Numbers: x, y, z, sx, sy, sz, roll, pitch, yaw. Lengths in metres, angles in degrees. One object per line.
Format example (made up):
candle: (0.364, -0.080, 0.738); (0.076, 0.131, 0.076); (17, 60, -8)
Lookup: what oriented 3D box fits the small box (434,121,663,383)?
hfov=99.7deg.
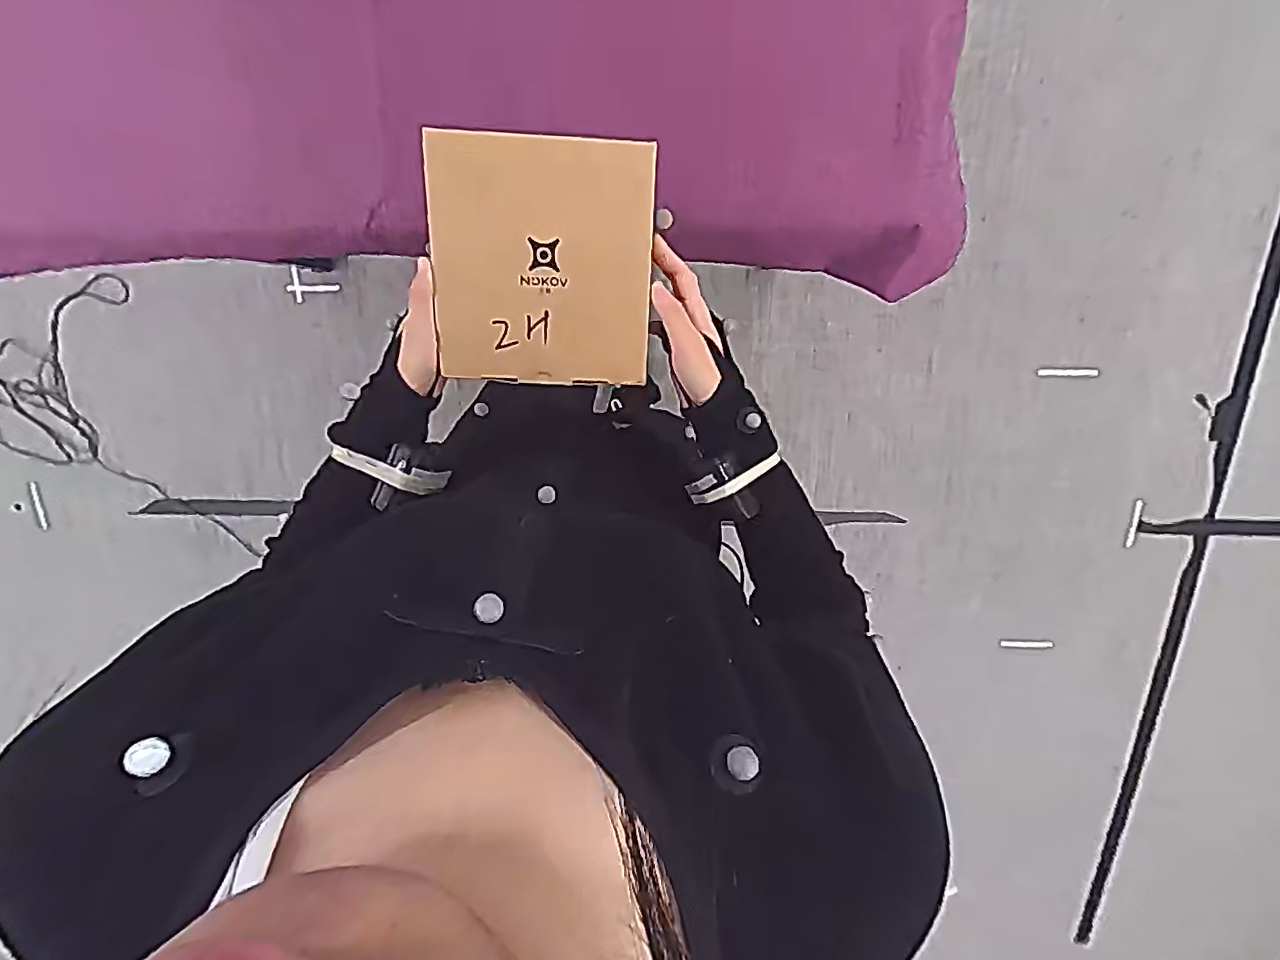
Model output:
small box: (-0.074, -0.190, 0.485); (0.168, 0.176, 0.179); (2, 108, -3)
